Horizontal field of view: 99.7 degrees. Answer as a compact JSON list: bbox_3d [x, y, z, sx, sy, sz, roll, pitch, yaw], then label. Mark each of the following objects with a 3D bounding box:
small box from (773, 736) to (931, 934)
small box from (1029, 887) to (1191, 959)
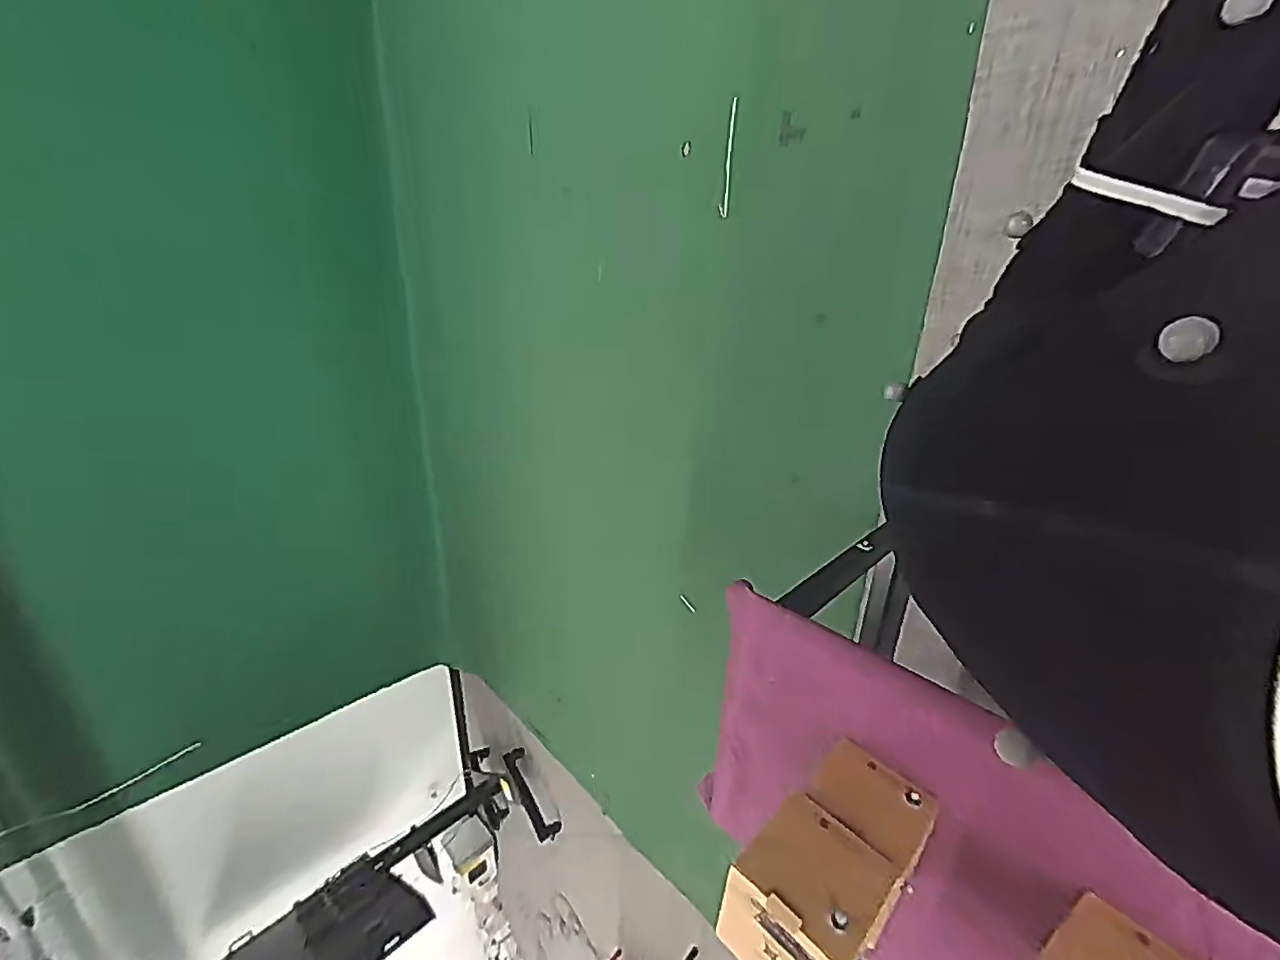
[{"bbox_3d":[0.349,0.567,0.887,0.168,0.176,0.179,29,124,39],"label":"small box"},{"bbox_3d":[0.590,0.665,0.665,0.168,0.176,0.179,27,123,39],"label":"small box"}]
